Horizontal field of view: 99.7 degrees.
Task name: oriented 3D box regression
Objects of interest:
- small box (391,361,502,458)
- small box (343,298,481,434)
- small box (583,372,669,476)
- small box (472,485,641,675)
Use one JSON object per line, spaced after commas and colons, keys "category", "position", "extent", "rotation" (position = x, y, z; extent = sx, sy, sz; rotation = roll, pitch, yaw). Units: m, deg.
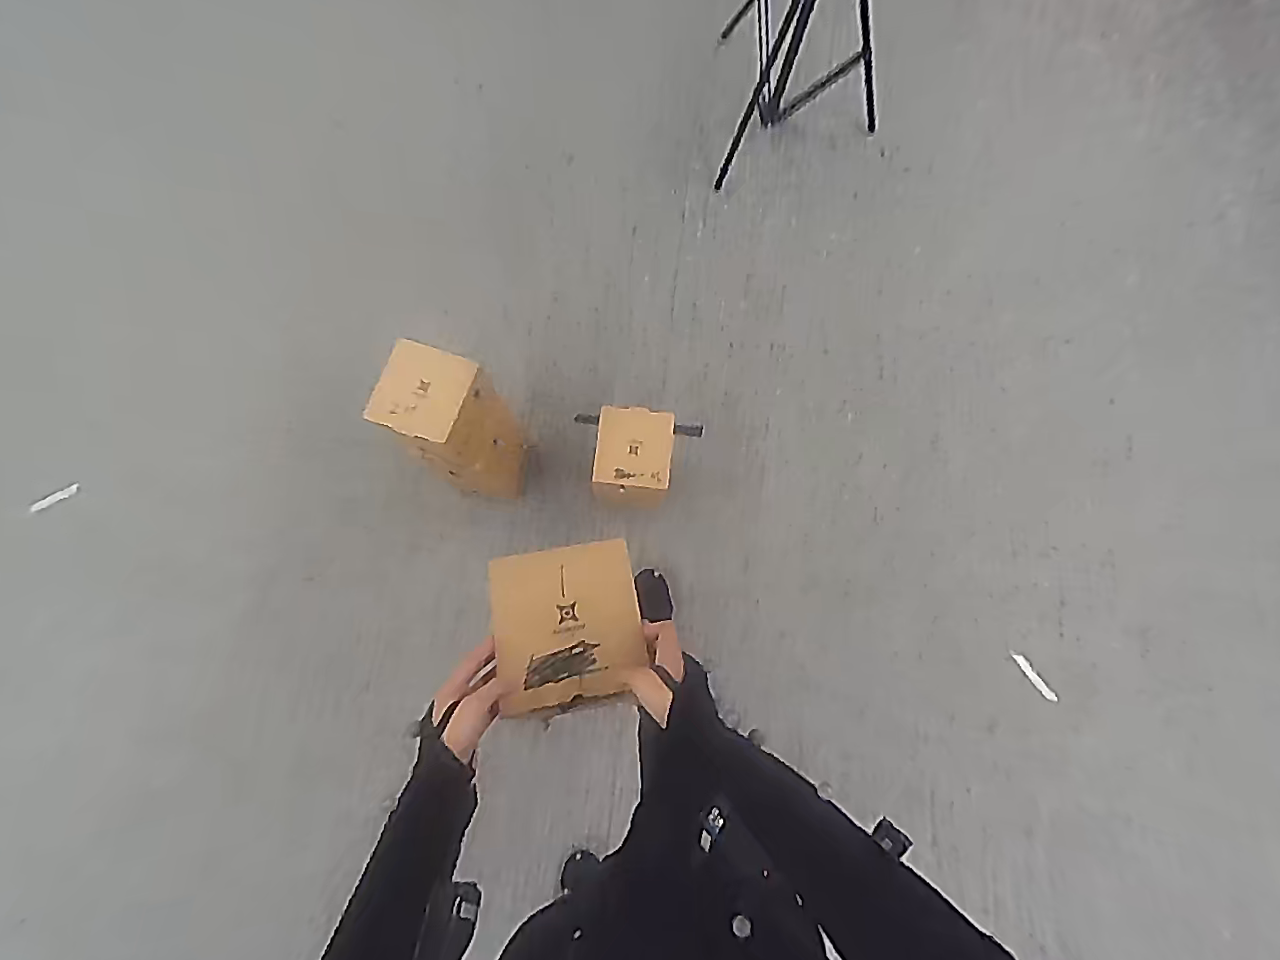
{"category": "small box", "position": [-0.417, -0.165, 1.200], "extent": [0.168, 0.176, 0.179], "rotation": [13, 78, 0]}
{"category": "small box", "position": [-0.424, -0.211, 1.041], "extent": [0.168, 0.176, 0.179], "rotation": [19, 78, 2]}
{"category": "small box", "position": [-0.033, -0.119, 1.211], "extent": [0.168, 0.176, 0.179], "rotation": [7, 77, -2]}
{"category": "small box", "position": [-0.095, 0.128, 0.645], "extent": [0.168, 0.176, 0.179], "rotation": [-8, 65, -8]}
